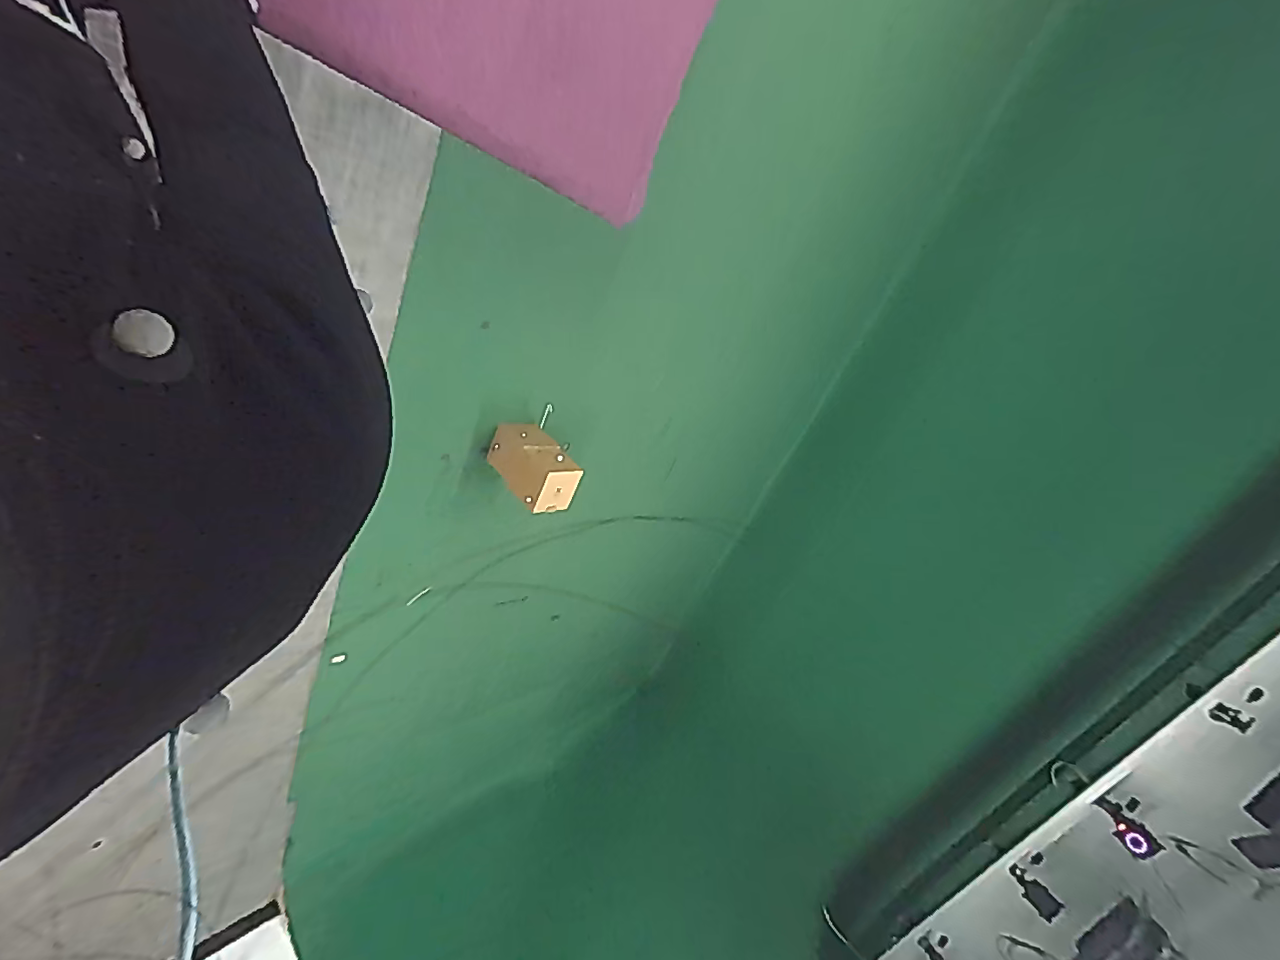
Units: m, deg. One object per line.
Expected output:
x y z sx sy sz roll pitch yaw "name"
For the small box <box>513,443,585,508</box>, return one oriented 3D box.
-0.333 -0.021 1.958 0.168 0.176 0.179 -5 129 -49 "small box"
